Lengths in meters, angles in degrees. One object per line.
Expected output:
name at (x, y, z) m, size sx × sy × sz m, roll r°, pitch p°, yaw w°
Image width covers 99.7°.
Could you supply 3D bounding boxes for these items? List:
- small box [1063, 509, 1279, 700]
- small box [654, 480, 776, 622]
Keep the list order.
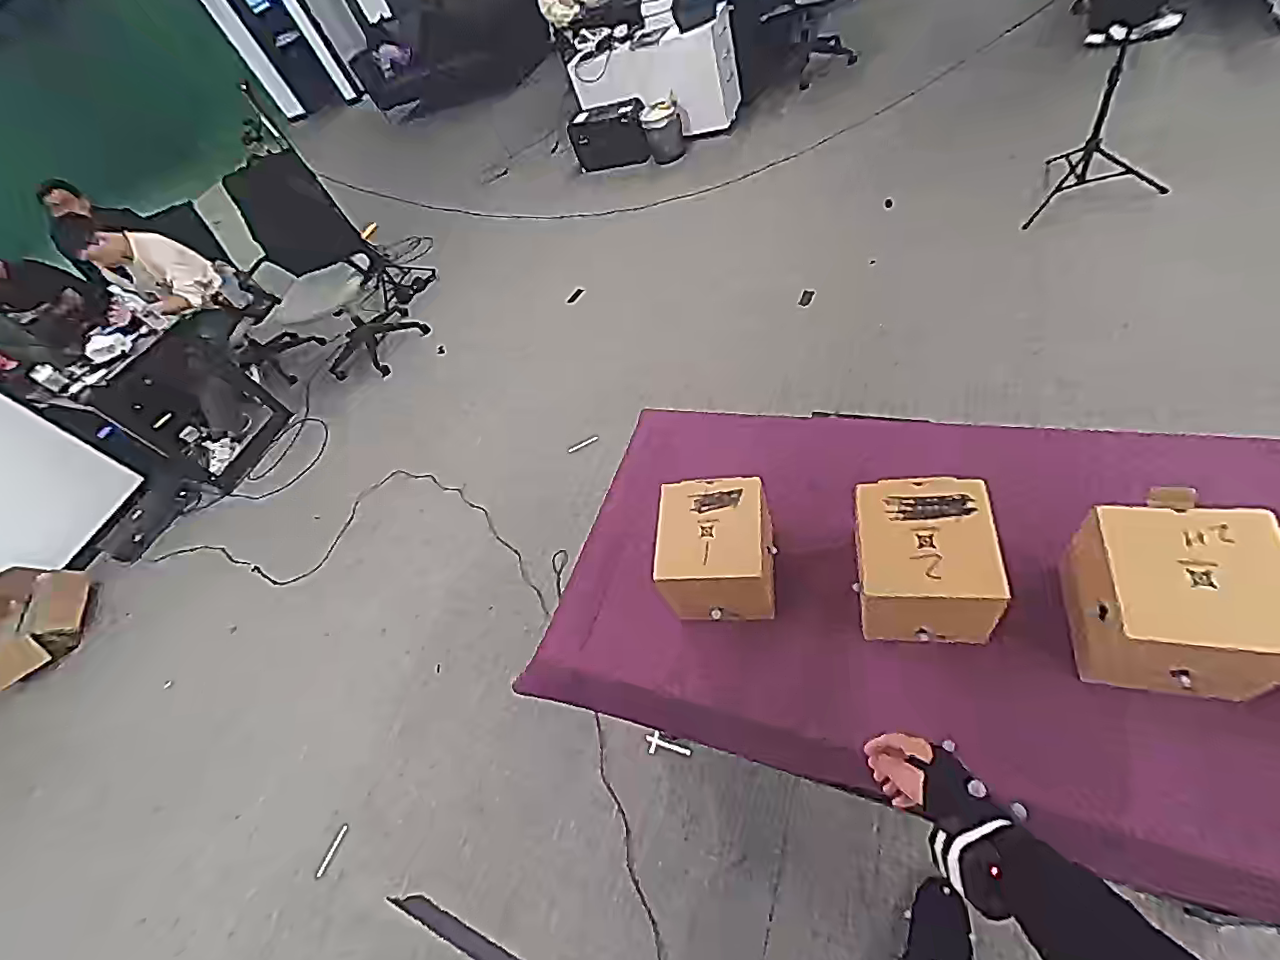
small box at (0.654, 0.155, 0.667) m, size 0.168 × 0.176 × 0.179 m, roll 1°, pitch 55°, yaw 23°
small box at (0.132, 0.122, 0.902) m, size 0.168 × 0.176 × 0.179 m, roll -5°, pitch 54°, yaw 19°
